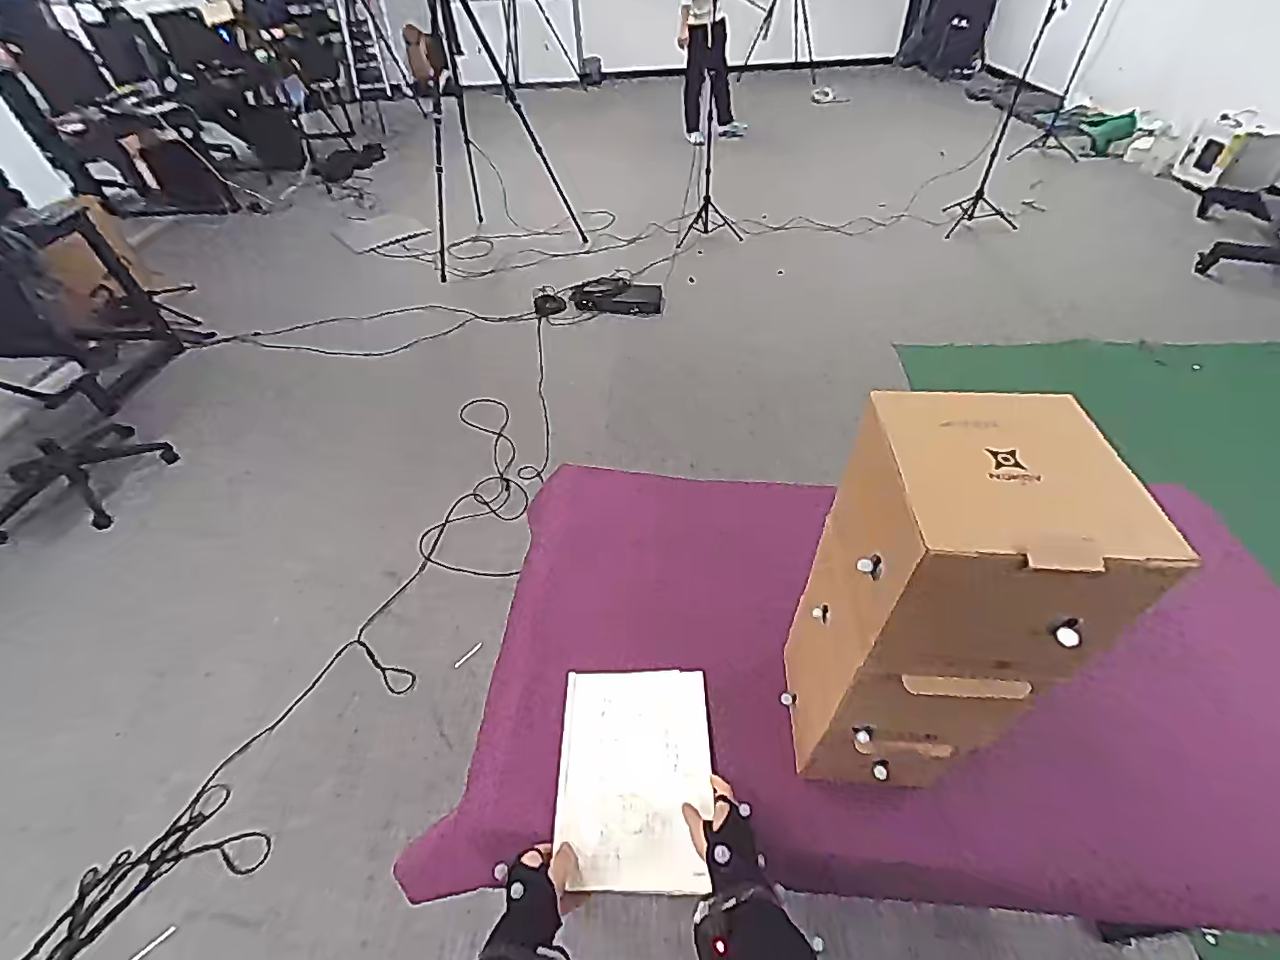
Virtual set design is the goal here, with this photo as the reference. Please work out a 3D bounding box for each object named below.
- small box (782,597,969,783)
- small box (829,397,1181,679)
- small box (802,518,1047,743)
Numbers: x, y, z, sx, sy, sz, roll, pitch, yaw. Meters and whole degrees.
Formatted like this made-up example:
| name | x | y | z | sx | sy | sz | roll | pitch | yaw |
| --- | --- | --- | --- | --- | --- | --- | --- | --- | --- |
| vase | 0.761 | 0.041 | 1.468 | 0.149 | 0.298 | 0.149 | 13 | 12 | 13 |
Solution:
| name | x | y | z | sx | sy | sz | roll | pitch | yaw |
| --- | --- | --- | --- | --- | --- | --- | --- | --- | --- |
| small box | 0.284 | 0.273 | 0.698 | 0.168 | 0.176 | 0.179 | 2 | 46 | 4 |
| small box | 0.270 | 0.049 | 0.459 | 0.168 | 0.176 | 0.179 | 3 | 45 | 5 |
| small box | 0.277 | 0.161 | 0.577 | 0.168 | 0.176 | 0.179 | 2 | 44 | 5 |
